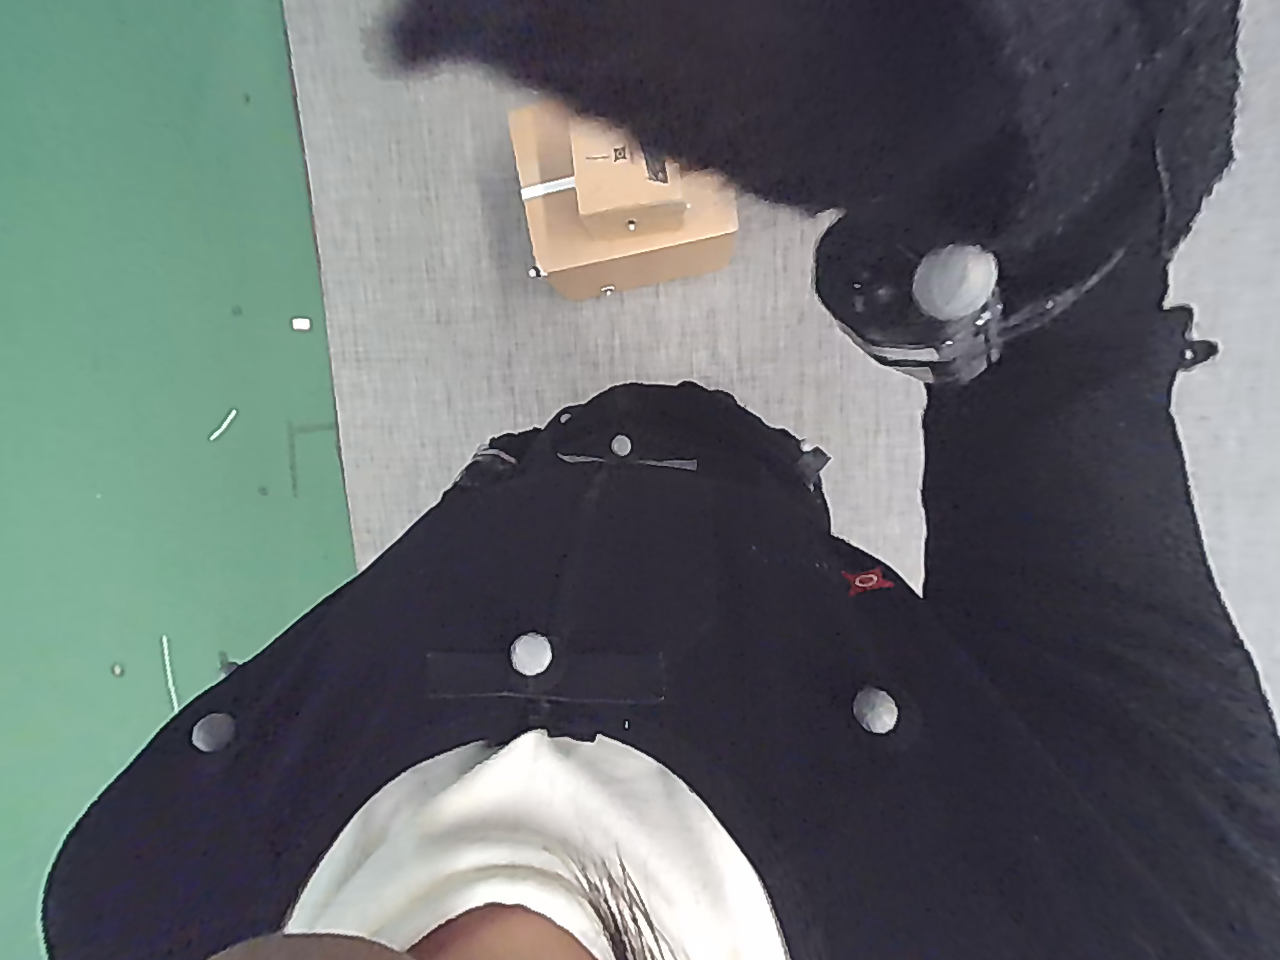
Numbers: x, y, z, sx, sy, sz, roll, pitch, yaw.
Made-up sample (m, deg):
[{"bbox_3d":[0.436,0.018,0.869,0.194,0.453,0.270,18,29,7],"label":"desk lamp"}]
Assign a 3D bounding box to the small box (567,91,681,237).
[{"bbox_3d":[-0.019,-0.548,0.961,0.179,0.176,0.168,-5,99,7],"label":"small box"}]
